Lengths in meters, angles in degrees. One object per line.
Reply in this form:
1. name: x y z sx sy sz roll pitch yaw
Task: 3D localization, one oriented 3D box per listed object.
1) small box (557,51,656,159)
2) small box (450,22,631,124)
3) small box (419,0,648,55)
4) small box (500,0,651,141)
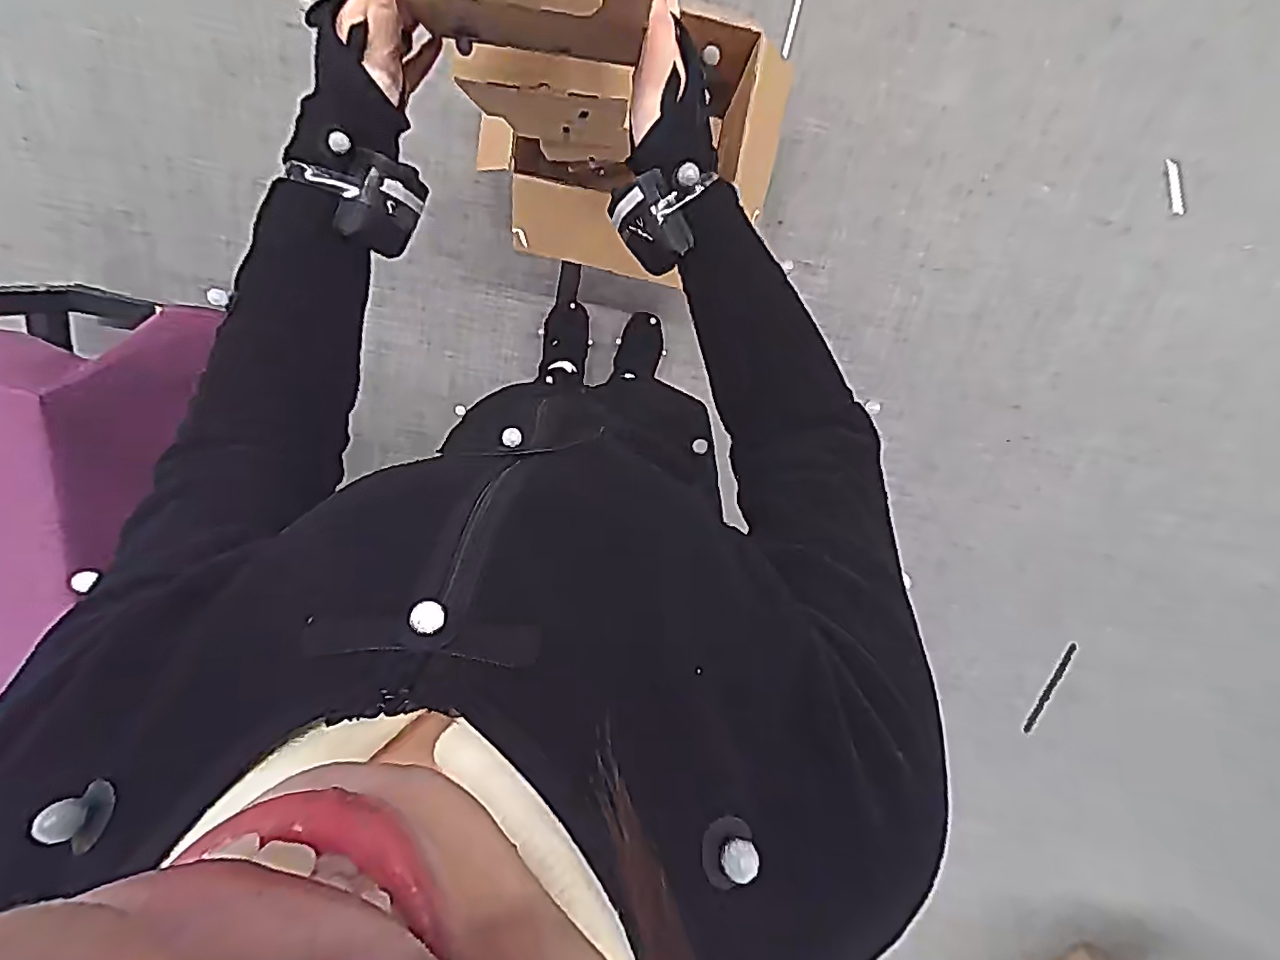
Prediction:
1. small box: -0.073 -0.697 0.981 0.179 0.176 0.168 -11 115 -1
2. small box: -0.088 -0.476 0.539 0.168 0.176 0.179 3 115 -7
3. small box: -0.067 -0.386 0.319 0.168 0.176 0.179 4 114 -6
4. small box: -0.082 -0.543 0.688 0.179 0.176 0.168 2 116 -6
